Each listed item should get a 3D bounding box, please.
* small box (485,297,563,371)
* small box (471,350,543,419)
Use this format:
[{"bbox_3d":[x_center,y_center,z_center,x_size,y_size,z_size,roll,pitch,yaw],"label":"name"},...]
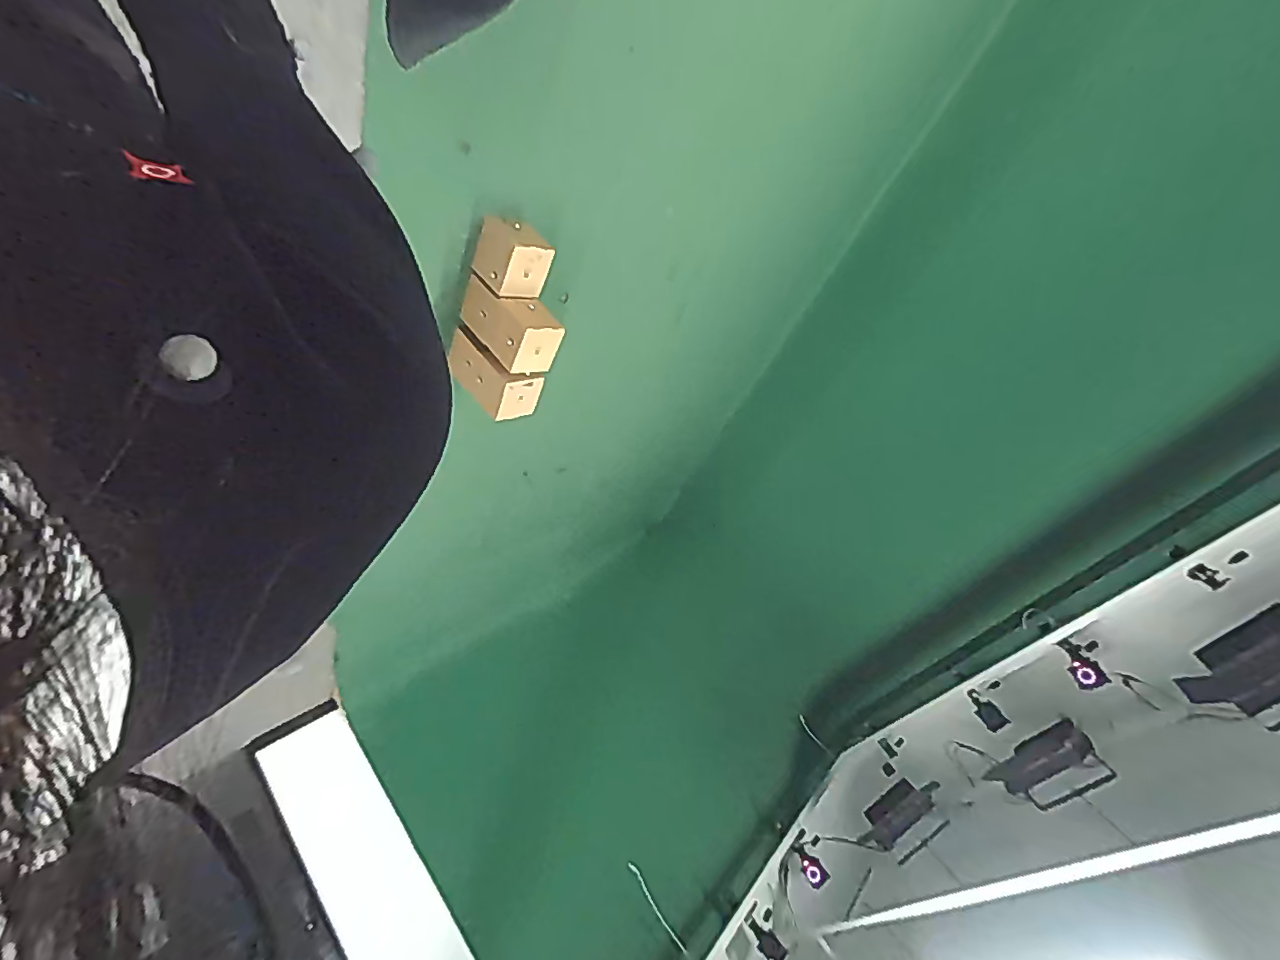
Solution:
[{"bbox_3d":[-0.395,-0.486,1.812,0.168,0.176,0.179,-17,146,-49],"label":"small box"},{"bbox_3d":[-0.480,-0.347,1.930,0.168,0.176,0.179,-22,152,-45],"label":"small box"}]
